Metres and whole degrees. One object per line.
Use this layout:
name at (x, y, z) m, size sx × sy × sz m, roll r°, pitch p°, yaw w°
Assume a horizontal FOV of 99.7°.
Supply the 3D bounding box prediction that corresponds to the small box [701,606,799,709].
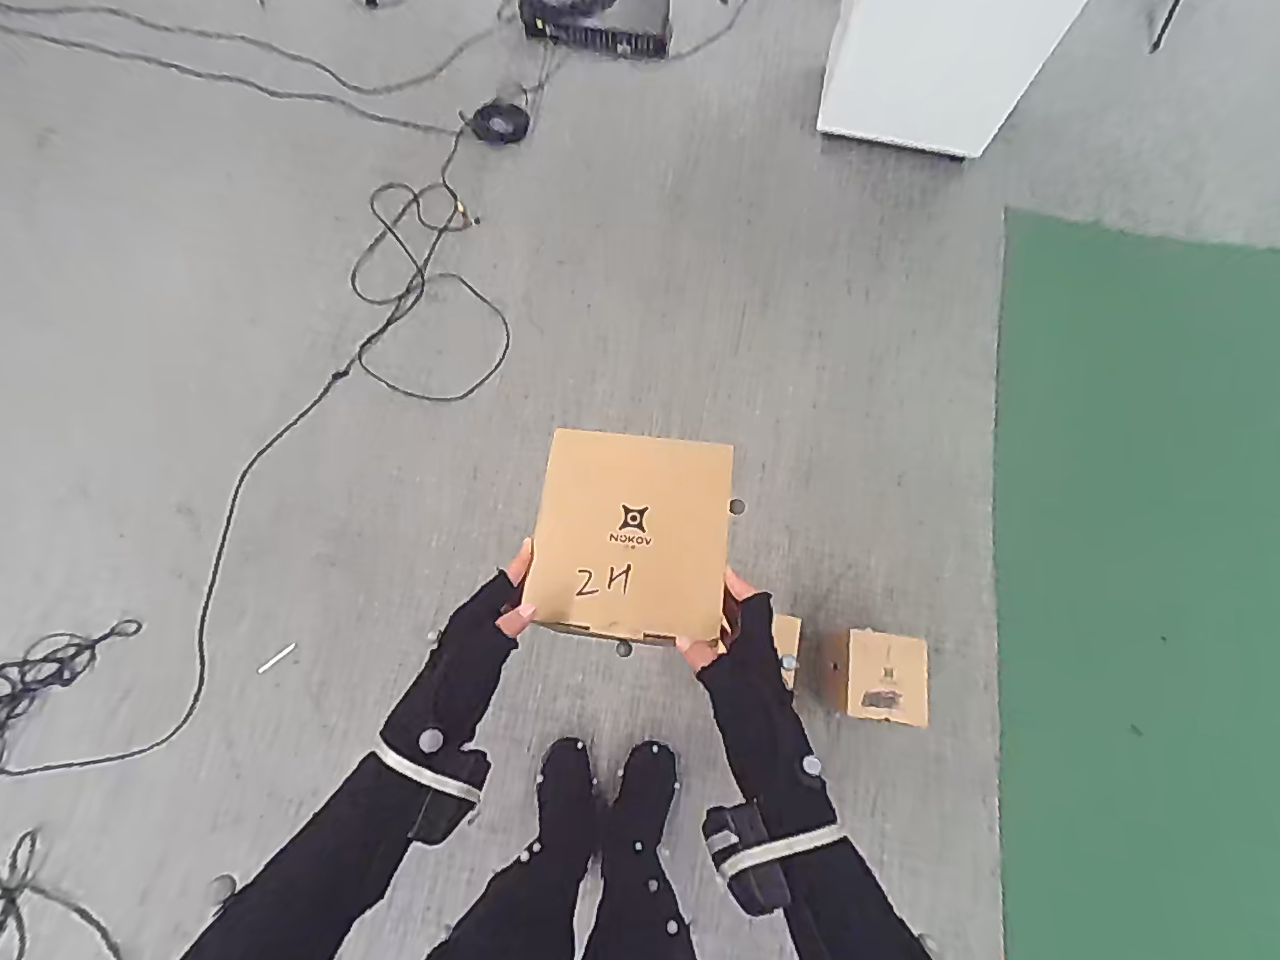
small box at (0.237, 0.389, 1.194) m, size 0.168 × 0.176 × 0.179 m, roll 12°, pitch 73°, yaw 2°

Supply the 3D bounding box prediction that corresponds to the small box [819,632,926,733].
small box at (0.501, 0.437, 1.183) m, size 0.168 × 0.176 × 0.179 m, roll 9°, pitch 72°, yaw 2°

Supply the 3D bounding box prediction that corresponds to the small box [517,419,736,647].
small box at (-0.004, 0.061, 0.529) m, size 0.168 × 0.176 × 0.179 m, roll 6°, pitch 72°, yaw 5°
